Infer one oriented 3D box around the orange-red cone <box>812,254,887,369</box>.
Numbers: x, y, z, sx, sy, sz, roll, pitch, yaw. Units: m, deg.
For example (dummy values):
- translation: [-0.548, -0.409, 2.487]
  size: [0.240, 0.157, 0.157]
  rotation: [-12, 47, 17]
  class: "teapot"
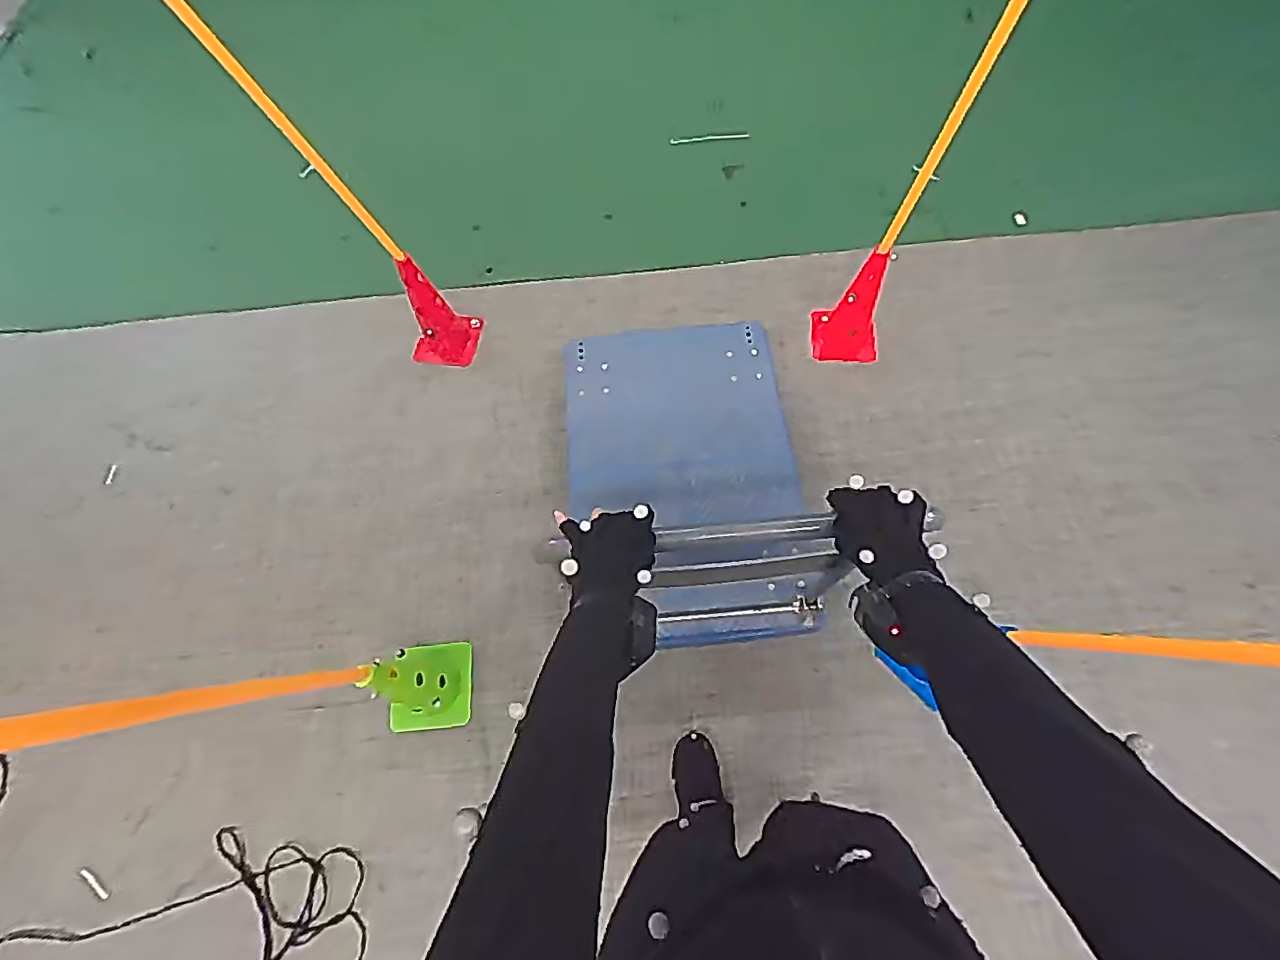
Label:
- translation: [0.646, -0.511, 1.586]
  size: [0.198, 0.360, 0.199]
  rotation: [4, 67, 6]
  class: "orange-red cone"
